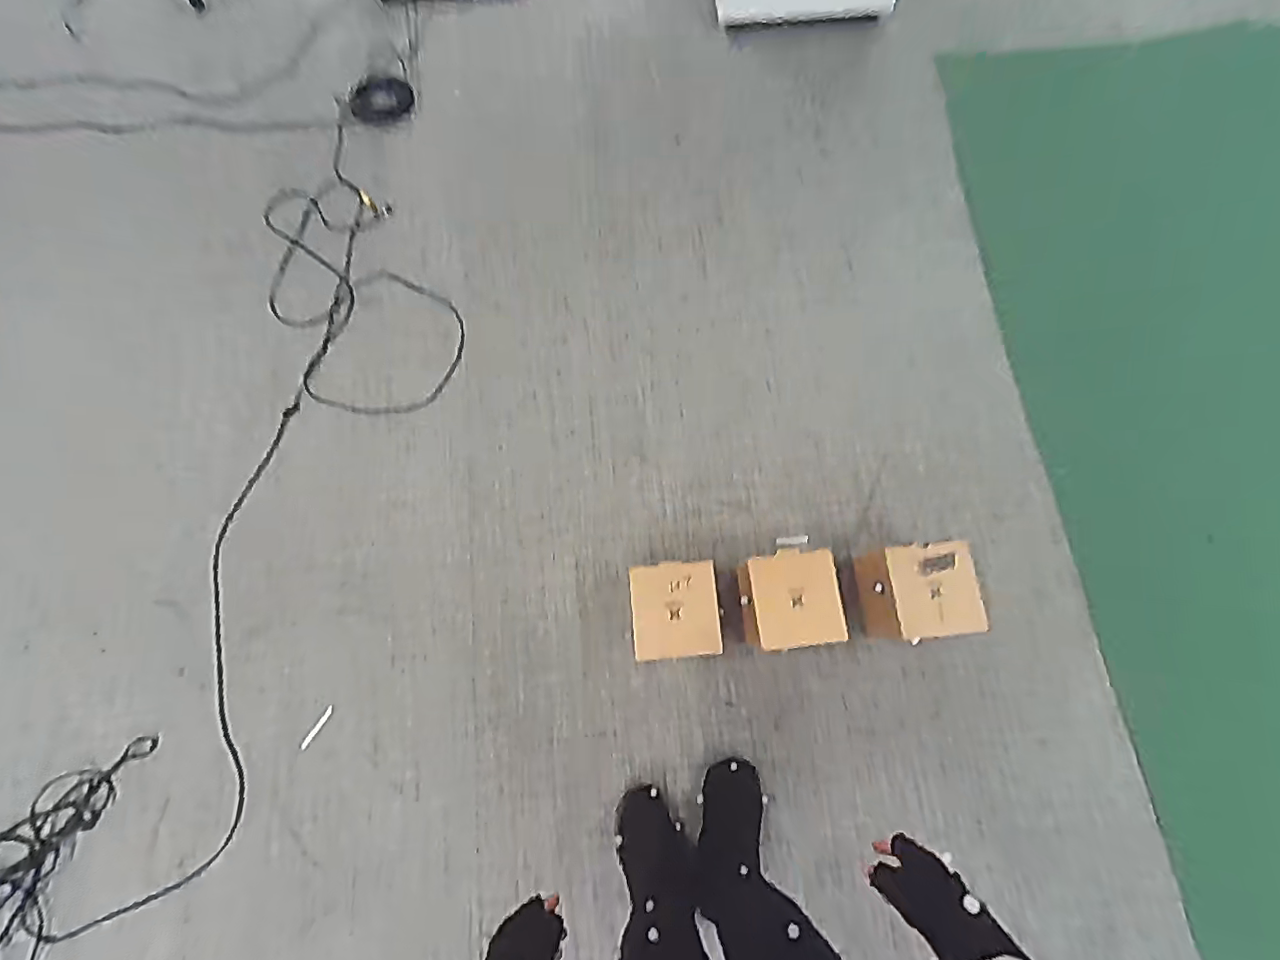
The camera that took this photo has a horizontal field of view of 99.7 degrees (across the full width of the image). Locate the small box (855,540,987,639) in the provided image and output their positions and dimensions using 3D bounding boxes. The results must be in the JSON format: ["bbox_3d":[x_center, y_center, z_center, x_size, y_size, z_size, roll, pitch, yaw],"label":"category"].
[{"bbox_3d":[0.563,0.229,1.111,0.168,0.176,0.179,-6,75,-1],"label":"small box"}]

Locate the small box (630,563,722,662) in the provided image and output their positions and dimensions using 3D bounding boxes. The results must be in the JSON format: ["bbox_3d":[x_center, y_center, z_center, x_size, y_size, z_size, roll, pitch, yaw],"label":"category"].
[{"bbox_3d":[0.069,0.269,1.103,0.168,0.176,0.179,-4,75,-1],"label":"small box"}]

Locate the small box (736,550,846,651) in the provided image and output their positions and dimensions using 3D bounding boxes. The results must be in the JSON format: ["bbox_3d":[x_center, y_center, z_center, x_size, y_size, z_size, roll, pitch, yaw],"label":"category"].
[{"bbox_3d":[0.300,0.248,1.109,0.168,0.176,0.179,-6,74,-2],"label":"small box"}]
